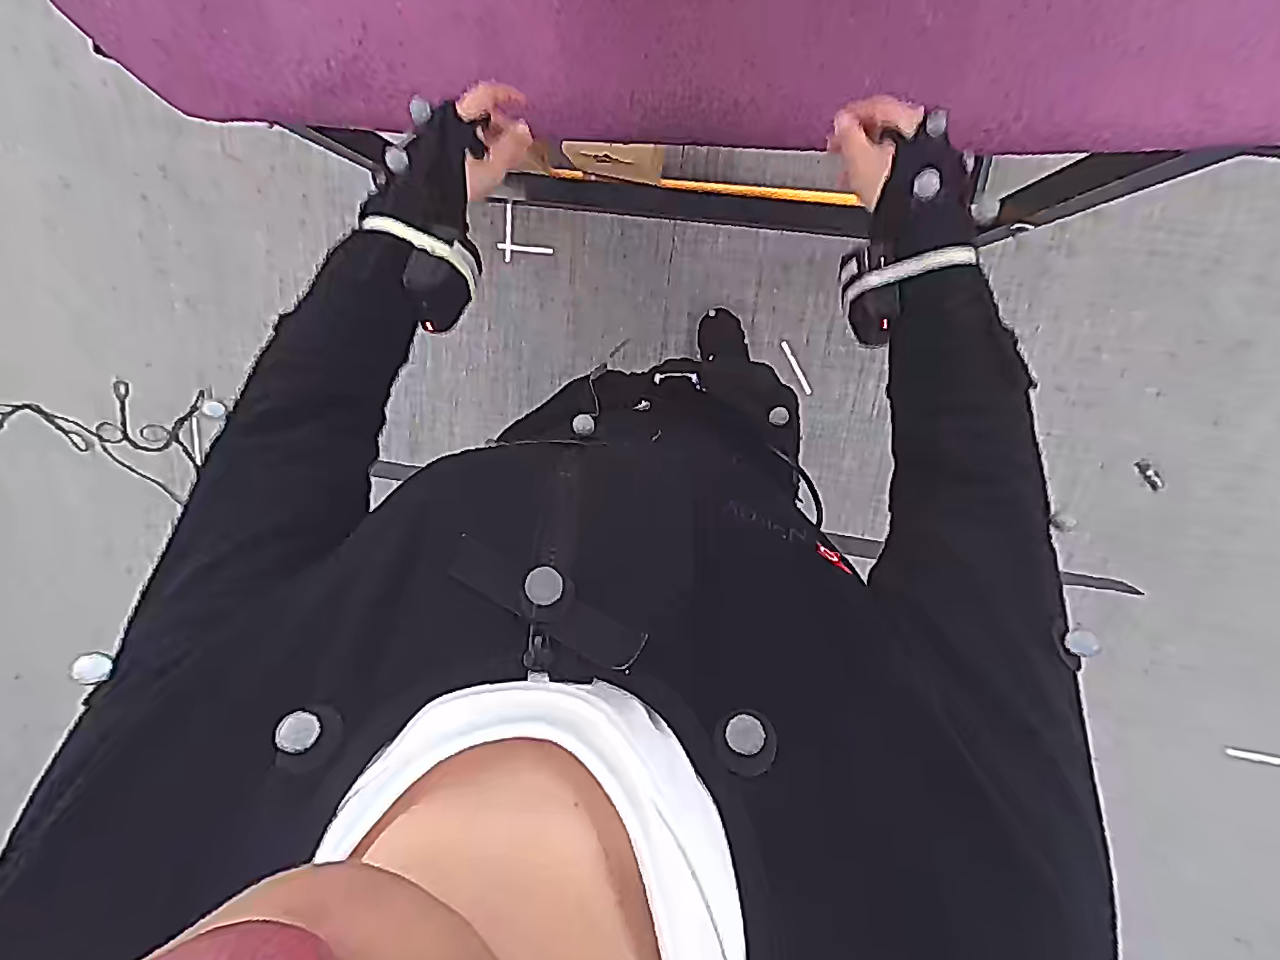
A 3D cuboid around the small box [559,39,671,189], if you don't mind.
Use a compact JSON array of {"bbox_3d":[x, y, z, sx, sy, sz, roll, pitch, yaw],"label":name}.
[{"bbox_3d":[-0.040,-0.672,1.016,0.168,0.176,0.179,13,106,2],"label":"small box"}]
